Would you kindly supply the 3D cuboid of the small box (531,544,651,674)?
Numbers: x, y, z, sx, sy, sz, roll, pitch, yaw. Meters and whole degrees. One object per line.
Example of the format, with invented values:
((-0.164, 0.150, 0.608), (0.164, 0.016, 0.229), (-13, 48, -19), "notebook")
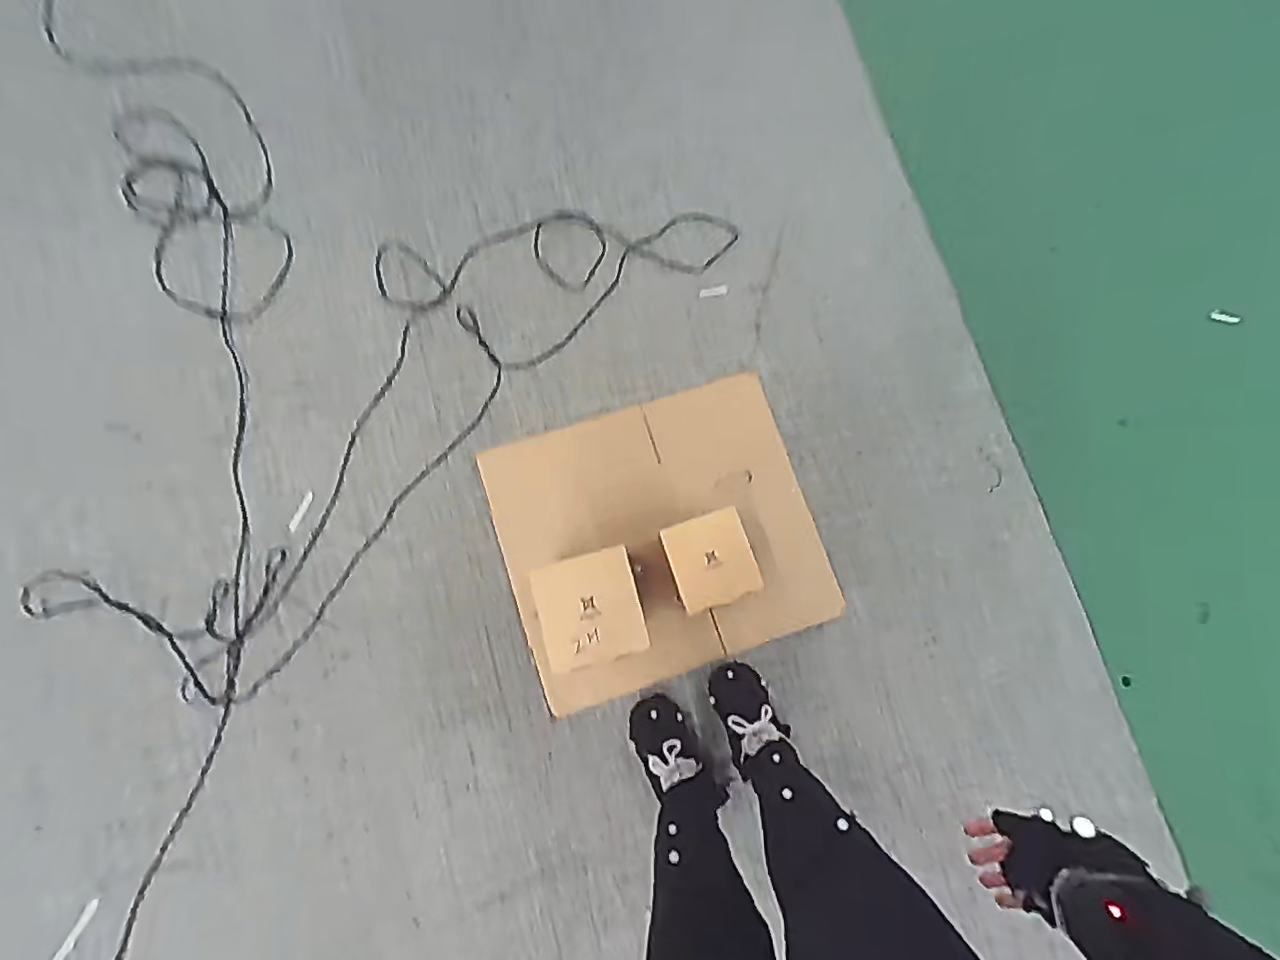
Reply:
((-0.085, 0.222, 0.955), (0.168, 0.176, 0.179), (-15, 81, -5), "small box")

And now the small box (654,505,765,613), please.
((0.137, 0.169, 1.147), (0.168, 0.176, 0.179), (-19, 82, -7), "small box")
